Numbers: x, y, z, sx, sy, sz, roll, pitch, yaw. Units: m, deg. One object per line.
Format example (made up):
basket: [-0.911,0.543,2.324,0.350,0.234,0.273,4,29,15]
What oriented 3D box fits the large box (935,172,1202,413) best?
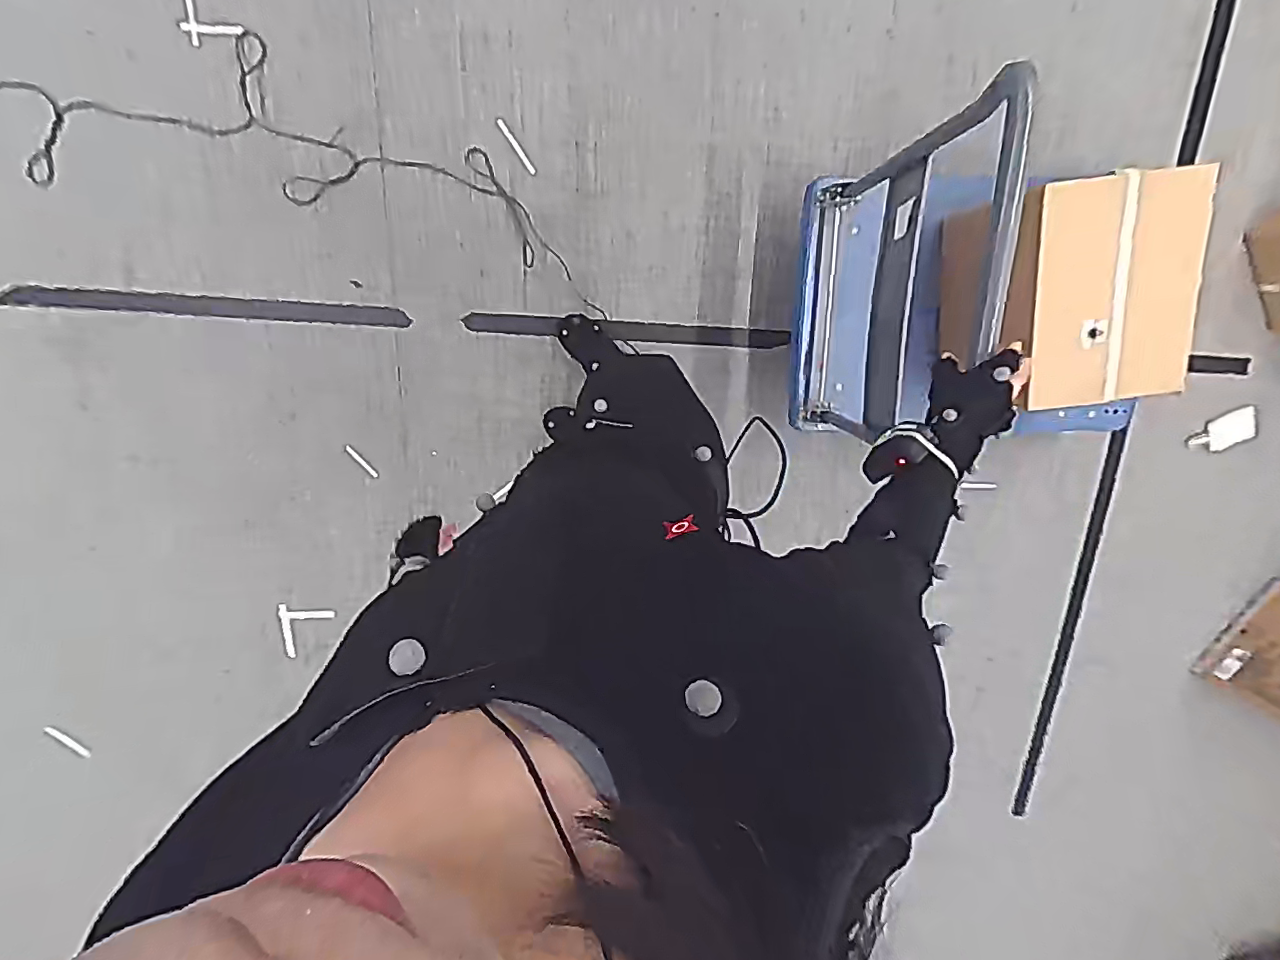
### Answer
large box: [0.863,-0.380,1.151,0.320,0.320,0.408,-7,106,-1]
